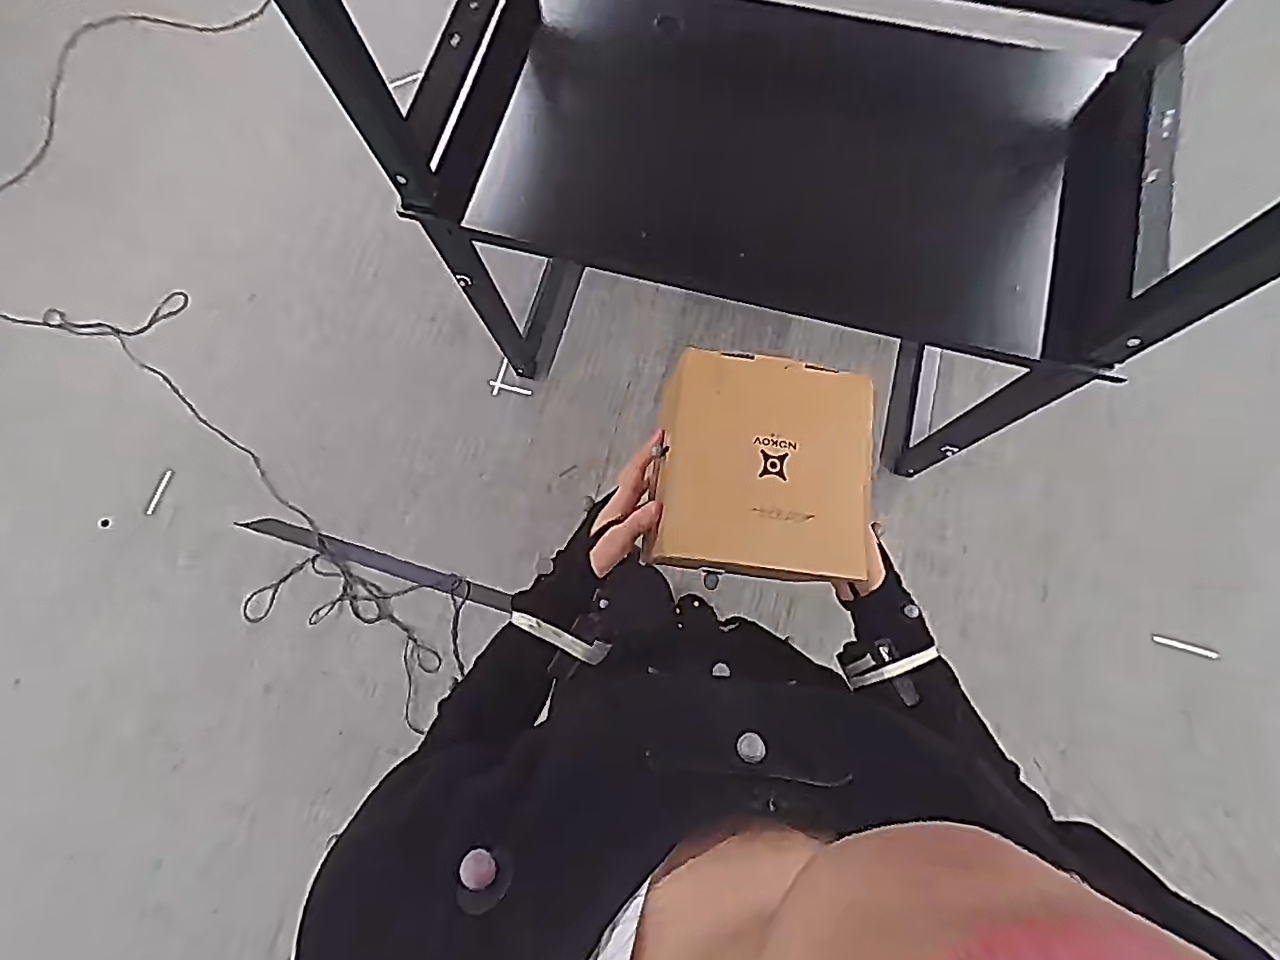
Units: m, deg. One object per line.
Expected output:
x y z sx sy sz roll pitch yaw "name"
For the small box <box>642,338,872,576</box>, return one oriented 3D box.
0.098 -0.007 0.514 0.168 0.176 0.179 8 78 -4 "small box"
